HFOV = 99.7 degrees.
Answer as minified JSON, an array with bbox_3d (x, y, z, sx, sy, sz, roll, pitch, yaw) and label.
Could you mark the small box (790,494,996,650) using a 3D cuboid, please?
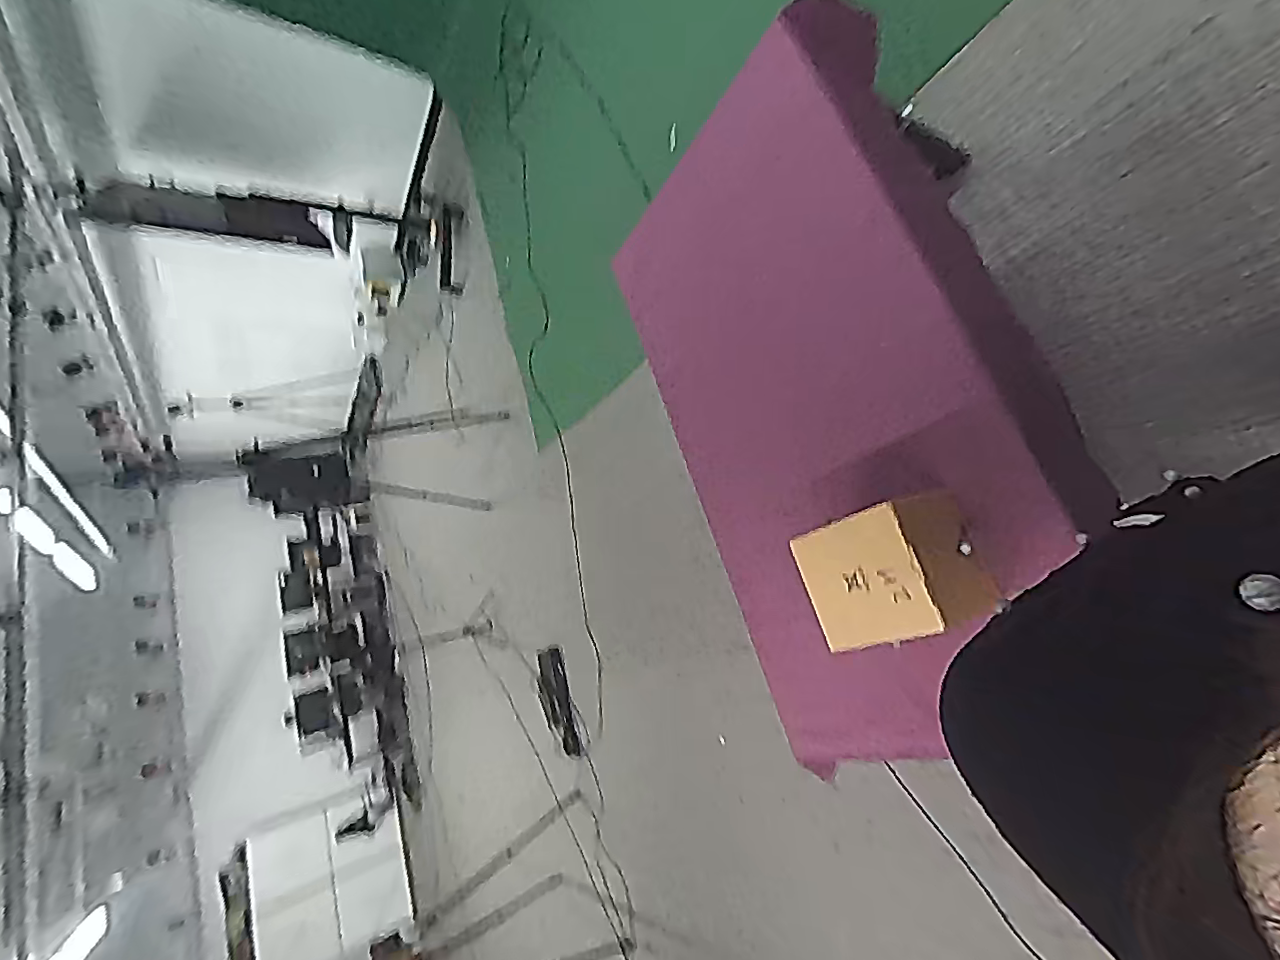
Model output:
[{"bbox_3d":[0.355,0.130,0.768,0.179,0.176,0.168,-37,66,49],"label":"small box"}]
